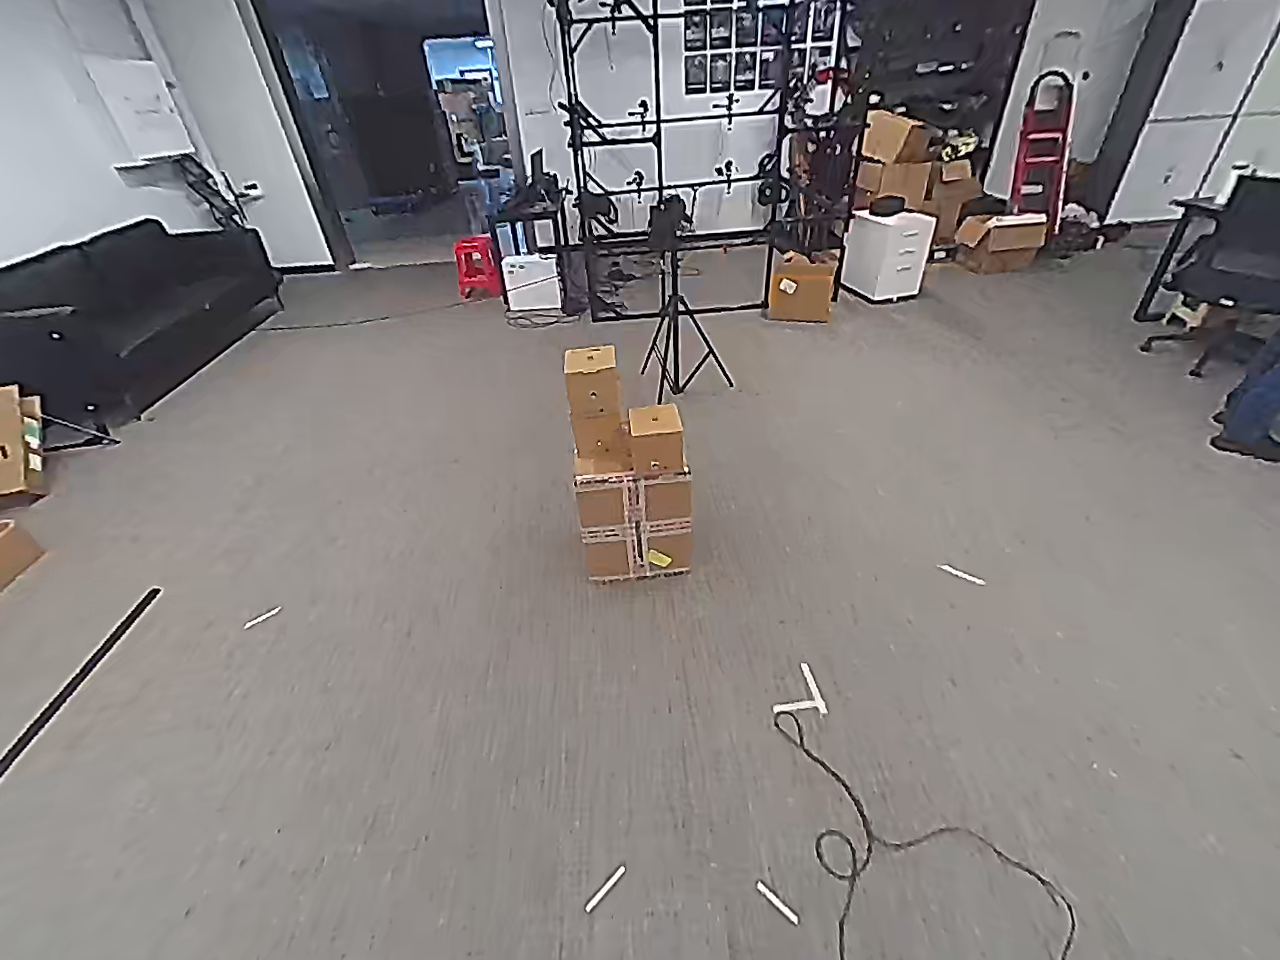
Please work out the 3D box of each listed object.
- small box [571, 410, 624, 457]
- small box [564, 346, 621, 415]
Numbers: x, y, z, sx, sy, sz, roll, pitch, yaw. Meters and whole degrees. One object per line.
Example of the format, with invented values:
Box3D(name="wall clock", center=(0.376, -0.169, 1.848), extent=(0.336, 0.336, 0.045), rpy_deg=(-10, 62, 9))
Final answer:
Box3D(name="small box", center=(-0.151, -0.203, 1.919), extent=(0.168, 0.176, 0.179), rpy_deg=(-8, 38, -2))
Box3D(name="small box", center=(-0.158, -0.327, 1.811), extent=(0.168, 0.176, 0.179), rpy_deg=(-7, 39, -1))
